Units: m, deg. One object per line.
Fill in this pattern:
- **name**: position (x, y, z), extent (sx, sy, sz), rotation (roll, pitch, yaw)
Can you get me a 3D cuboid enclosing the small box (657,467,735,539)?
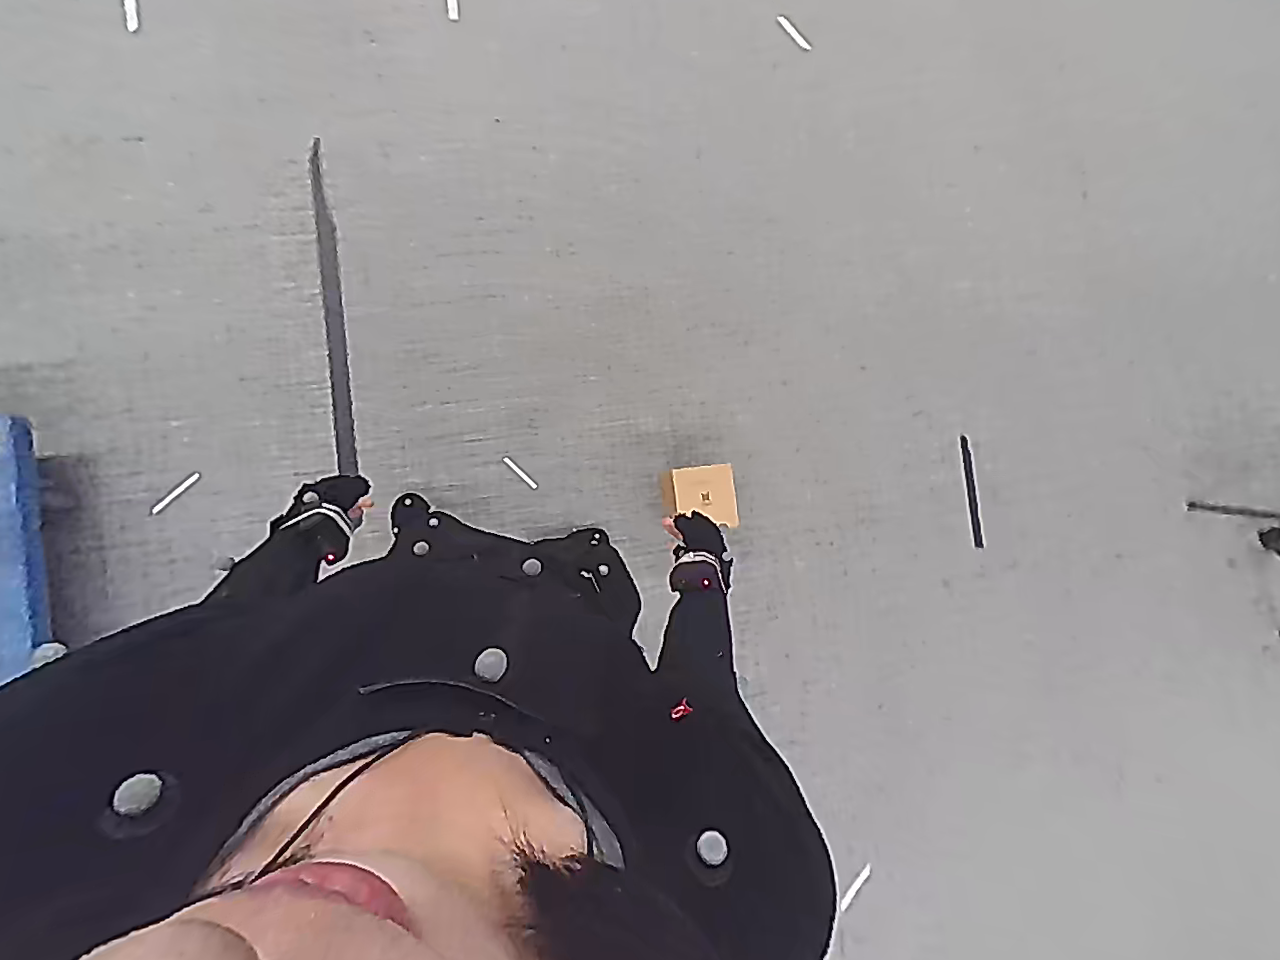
- **small box**: position (0.151, 0.063, 1.505), extent (0.168, 0.176, 0.179), rotation (-7, 88, -10)
